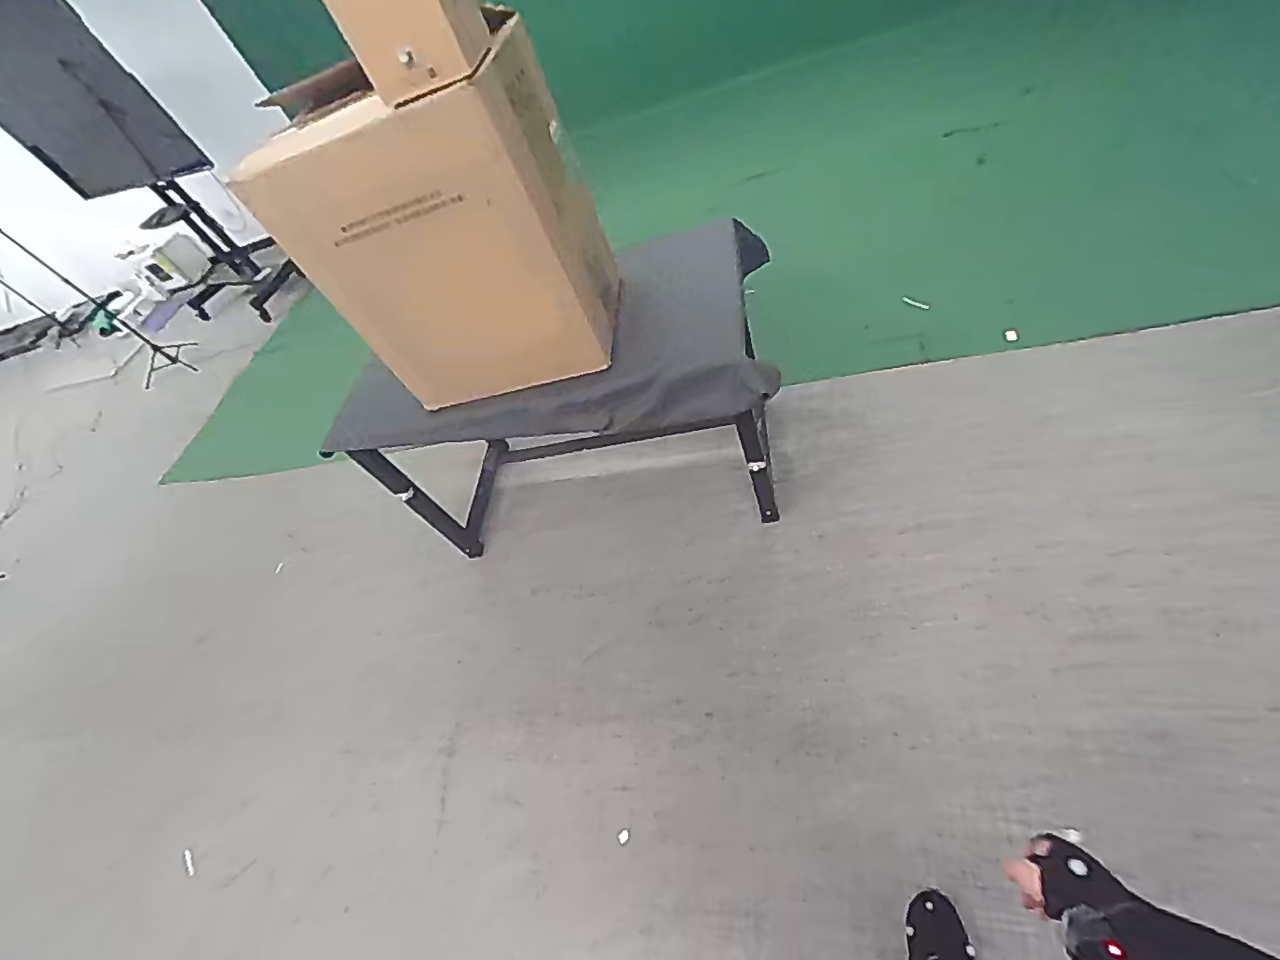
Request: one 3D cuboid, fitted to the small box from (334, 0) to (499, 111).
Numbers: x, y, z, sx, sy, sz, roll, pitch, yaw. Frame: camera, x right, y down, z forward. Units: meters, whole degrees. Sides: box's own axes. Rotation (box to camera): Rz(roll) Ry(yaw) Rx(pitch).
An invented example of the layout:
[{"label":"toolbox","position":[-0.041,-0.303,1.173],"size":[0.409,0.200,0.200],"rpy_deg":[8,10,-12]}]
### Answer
[{"label":"small box","position":[-0.349,-0.736,0.872],"size":[0.168,0.176,0.179],"rpy_deg":[-9,53,15]}]
